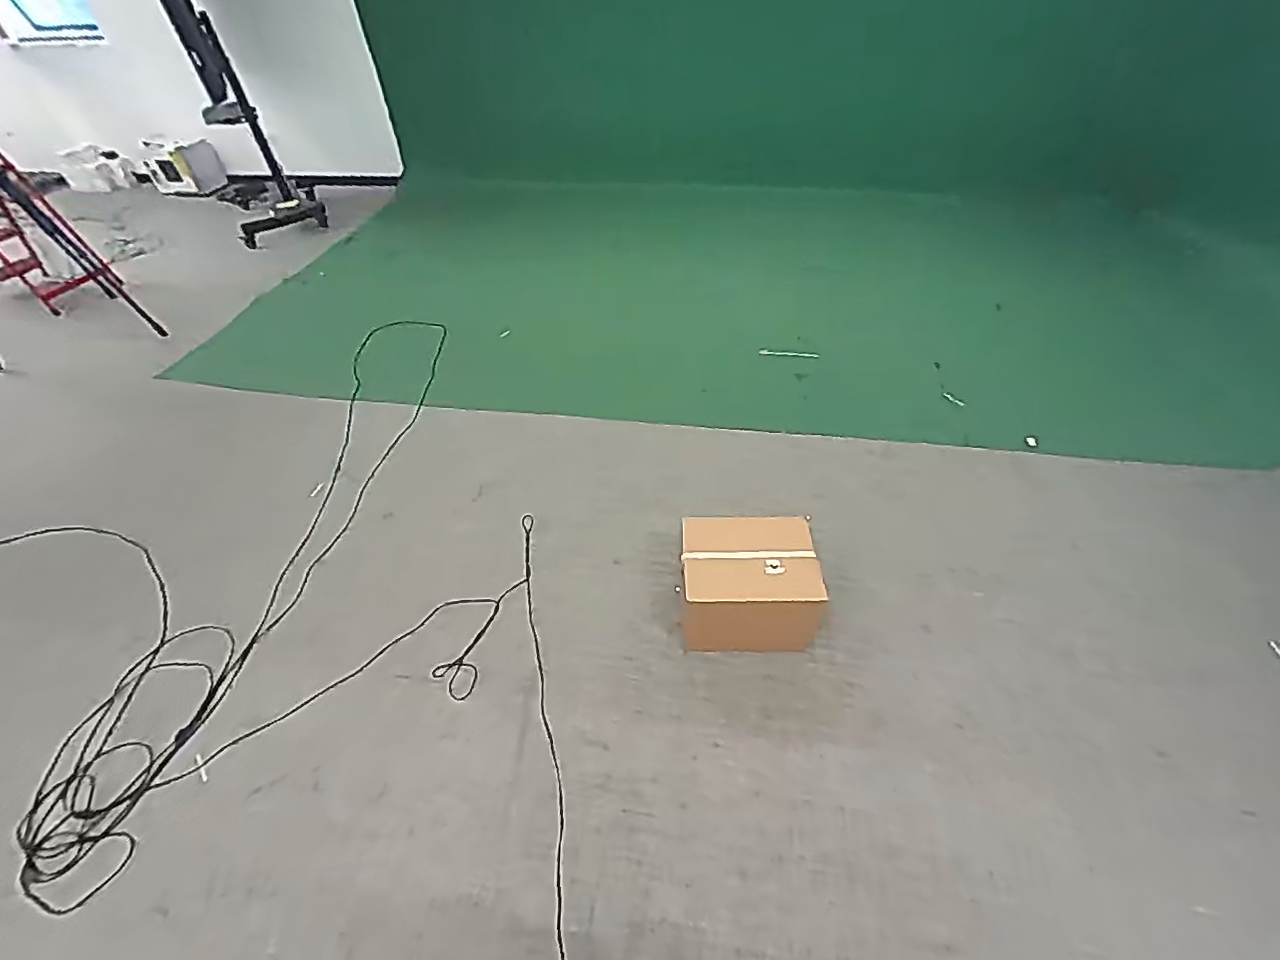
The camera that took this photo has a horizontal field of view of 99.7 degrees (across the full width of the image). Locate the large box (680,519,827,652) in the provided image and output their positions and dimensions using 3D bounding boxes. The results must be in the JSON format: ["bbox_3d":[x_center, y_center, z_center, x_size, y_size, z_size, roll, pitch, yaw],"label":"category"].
[{"bbox_3d":[0.340,0.344,1.749,0.408,0.320,0.320,-1,46,1],"label":"large box"}]
